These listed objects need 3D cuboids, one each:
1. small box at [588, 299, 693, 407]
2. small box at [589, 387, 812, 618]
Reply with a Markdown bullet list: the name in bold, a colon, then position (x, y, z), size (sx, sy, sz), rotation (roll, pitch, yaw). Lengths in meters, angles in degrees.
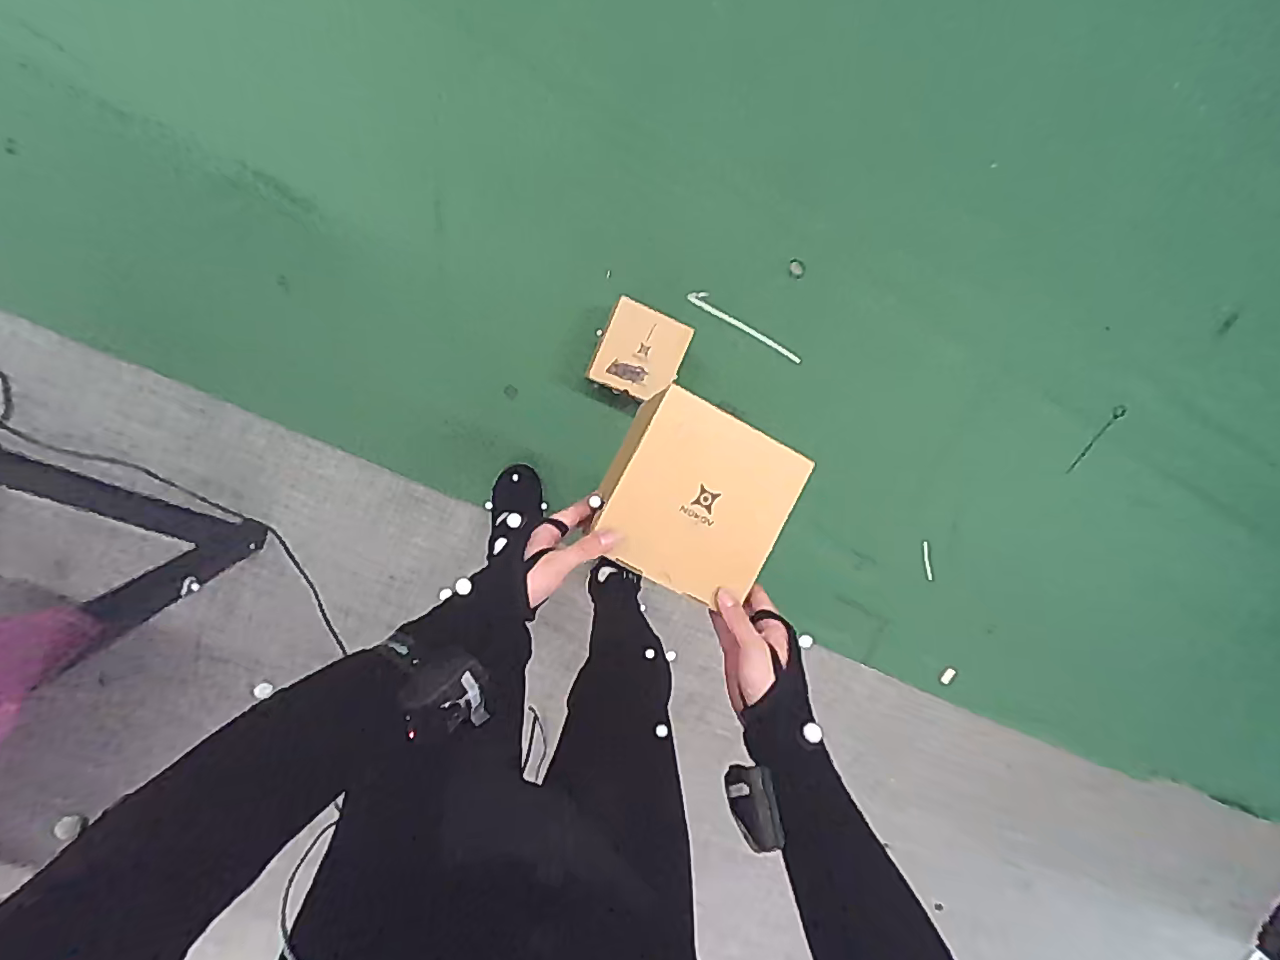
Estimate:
- **small box**: position (-0.008, -0.265, 1.172), size (0.168, 0.176, 0.179), rotation (23, 96, -13)
- **small box**: position (0.050, 0.019, 0.599), size (0.168, 0.176, 0.179), rotation (28, 89, -9)
